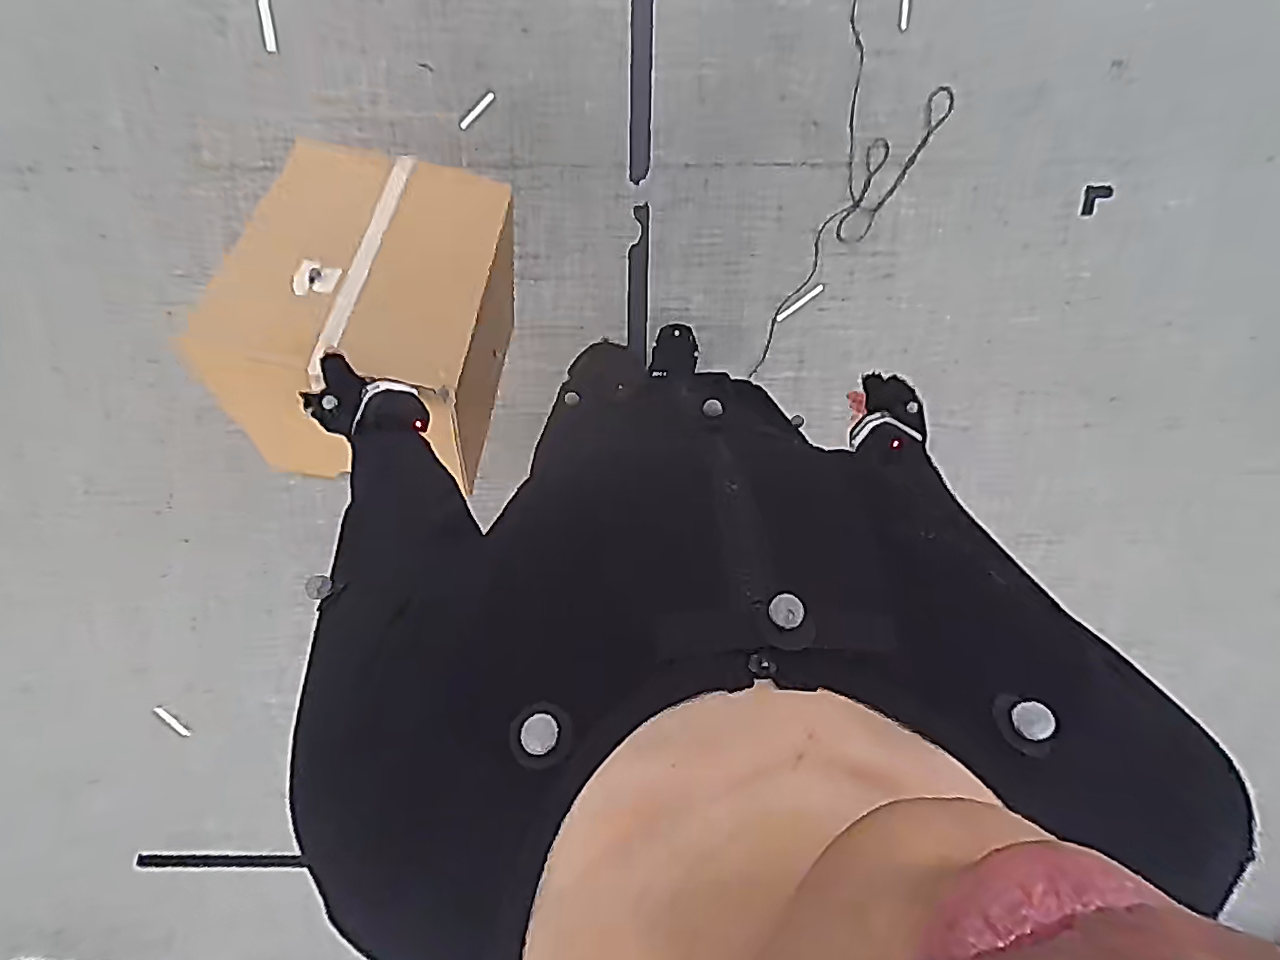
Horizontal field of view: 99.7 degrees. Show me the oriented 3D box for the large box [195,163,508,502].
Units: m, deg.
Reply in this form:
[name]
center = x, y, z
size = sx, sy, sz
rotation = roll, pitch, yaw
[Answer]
[large box]
center = -0.399, -0.222, 0.881
size = 0.320, 0.320, 0.408
rotation = 8, 61, -7
